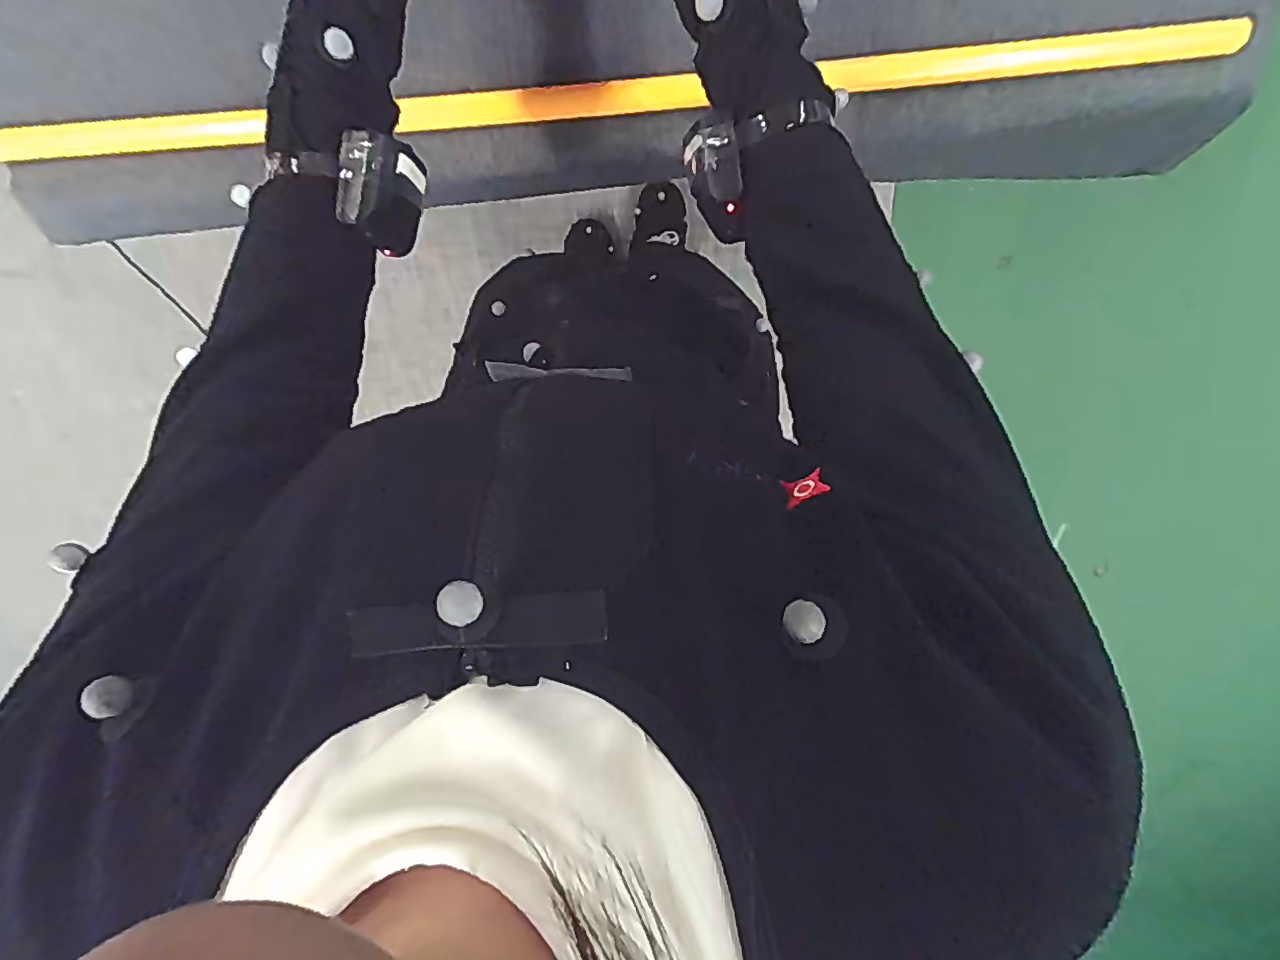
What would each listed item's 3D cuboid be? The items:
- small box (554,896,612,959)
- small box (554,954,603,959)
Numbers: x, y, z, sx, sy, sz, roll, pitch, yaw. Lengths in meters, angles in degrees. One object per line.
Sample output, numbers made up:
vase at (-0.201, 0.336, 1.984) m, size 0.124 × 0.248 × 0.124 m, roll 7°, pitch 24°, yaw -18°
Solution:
small box at (-0.196, 1.611, 1.912) m, size 0.168 × 0.176 × 0.179 m, roll -11°, pitch 121°, yaw 4°
small box at (-0.195, 1.696, 1.771) m, size 0.168 × 0.176 × 0.179 m, roll -10°, pitch 119°, yaw 4°
